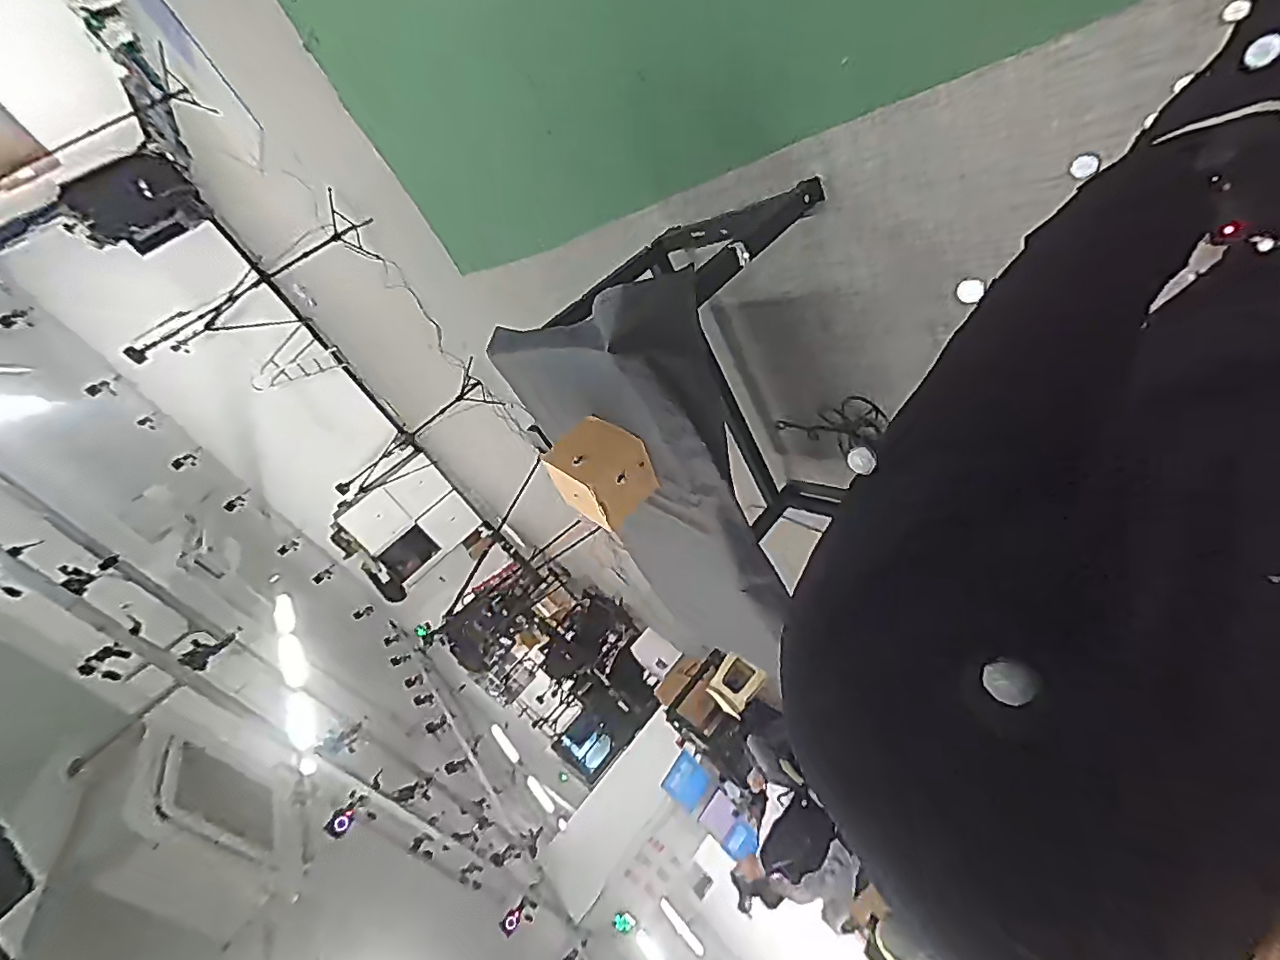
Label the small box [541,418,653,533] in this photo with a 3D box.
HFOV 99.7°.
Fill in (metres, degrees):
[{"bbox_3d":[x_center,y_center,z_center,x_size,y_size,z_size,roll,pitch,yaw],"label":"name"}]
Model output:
[{"bbox_3d":[-0.089,-0.018,1.241,0.179,0.176,0.168,30,153,38],"label":"small box"}]
